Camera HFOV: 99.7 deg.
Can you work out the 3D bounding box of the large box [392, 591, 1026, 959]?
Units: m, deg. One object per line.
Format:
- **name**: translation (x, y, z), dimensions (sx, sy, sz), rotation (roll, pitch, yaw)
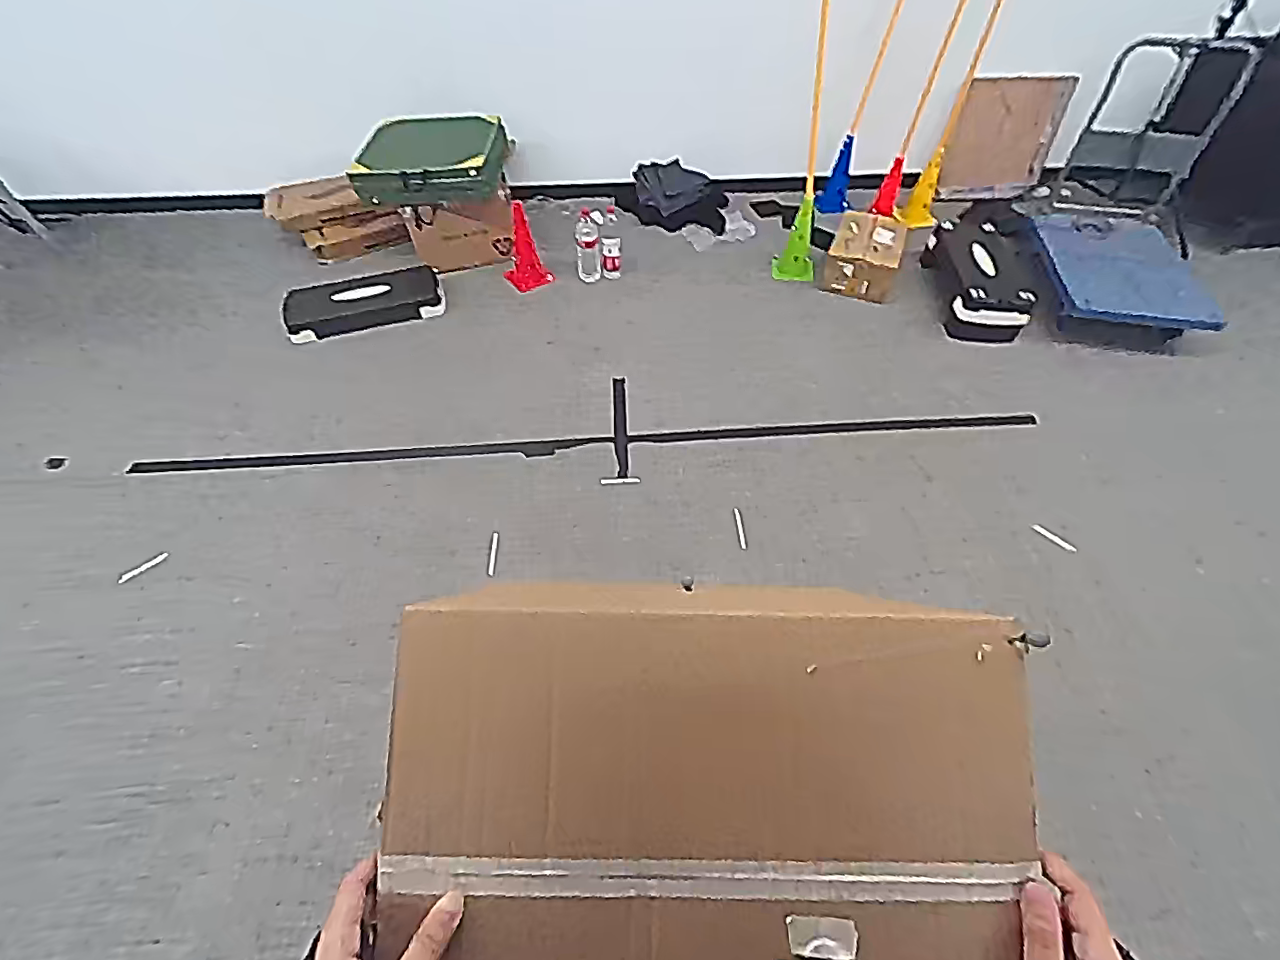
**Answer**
- **large box**: translation (0.039, 0.267, 0.491), dimensions (0.408, 0.320, 0.320), rotation (0, 83, -2)
